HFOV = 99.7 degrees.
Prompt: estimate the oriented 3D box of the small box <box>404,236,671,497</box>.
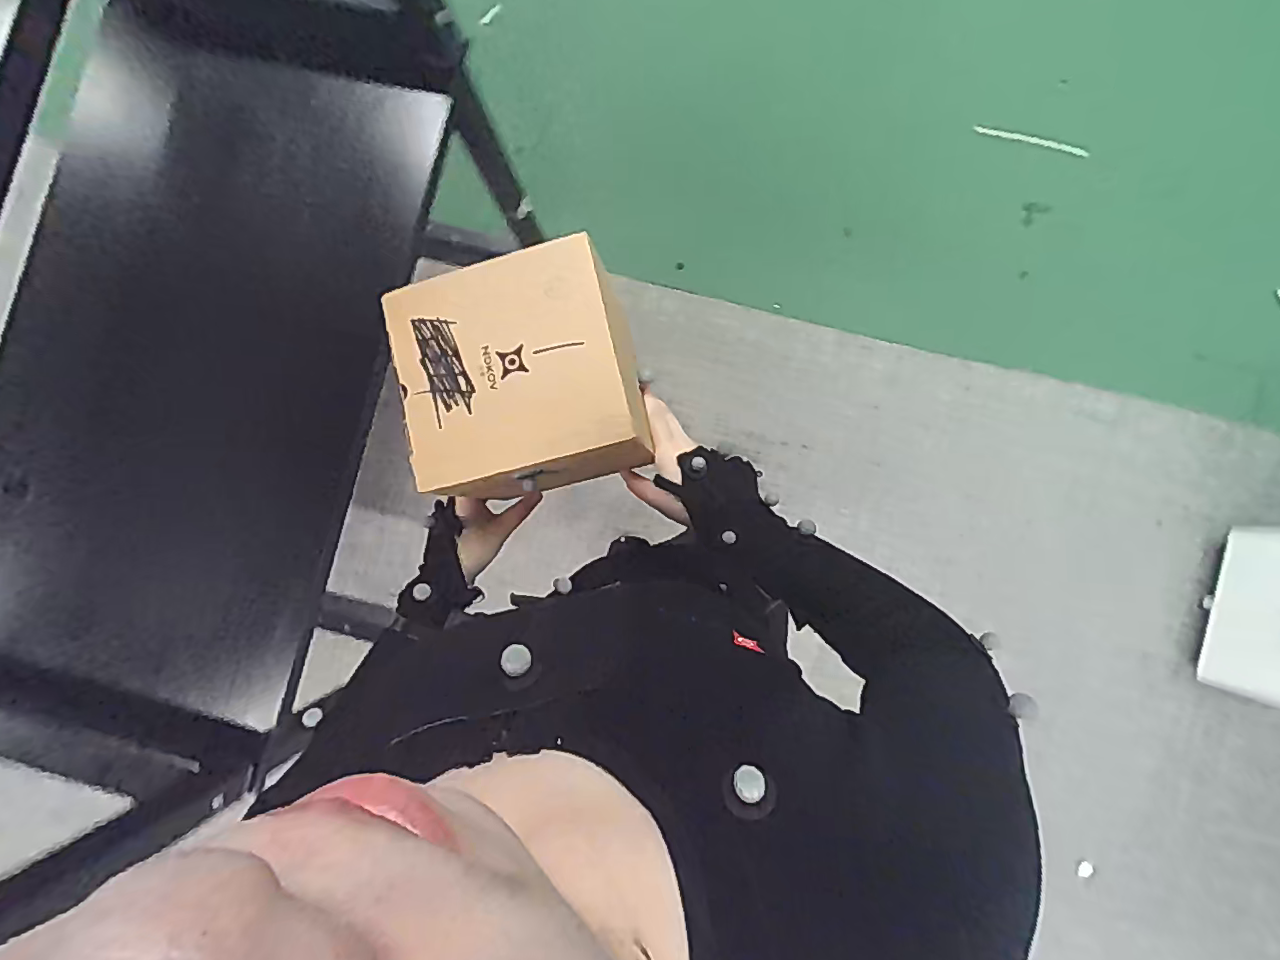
[{"bbox_3d":[-0.078,-0.082,0.491,0.179,0.176,0.168,-13,84,7],"label":"small box"}]
